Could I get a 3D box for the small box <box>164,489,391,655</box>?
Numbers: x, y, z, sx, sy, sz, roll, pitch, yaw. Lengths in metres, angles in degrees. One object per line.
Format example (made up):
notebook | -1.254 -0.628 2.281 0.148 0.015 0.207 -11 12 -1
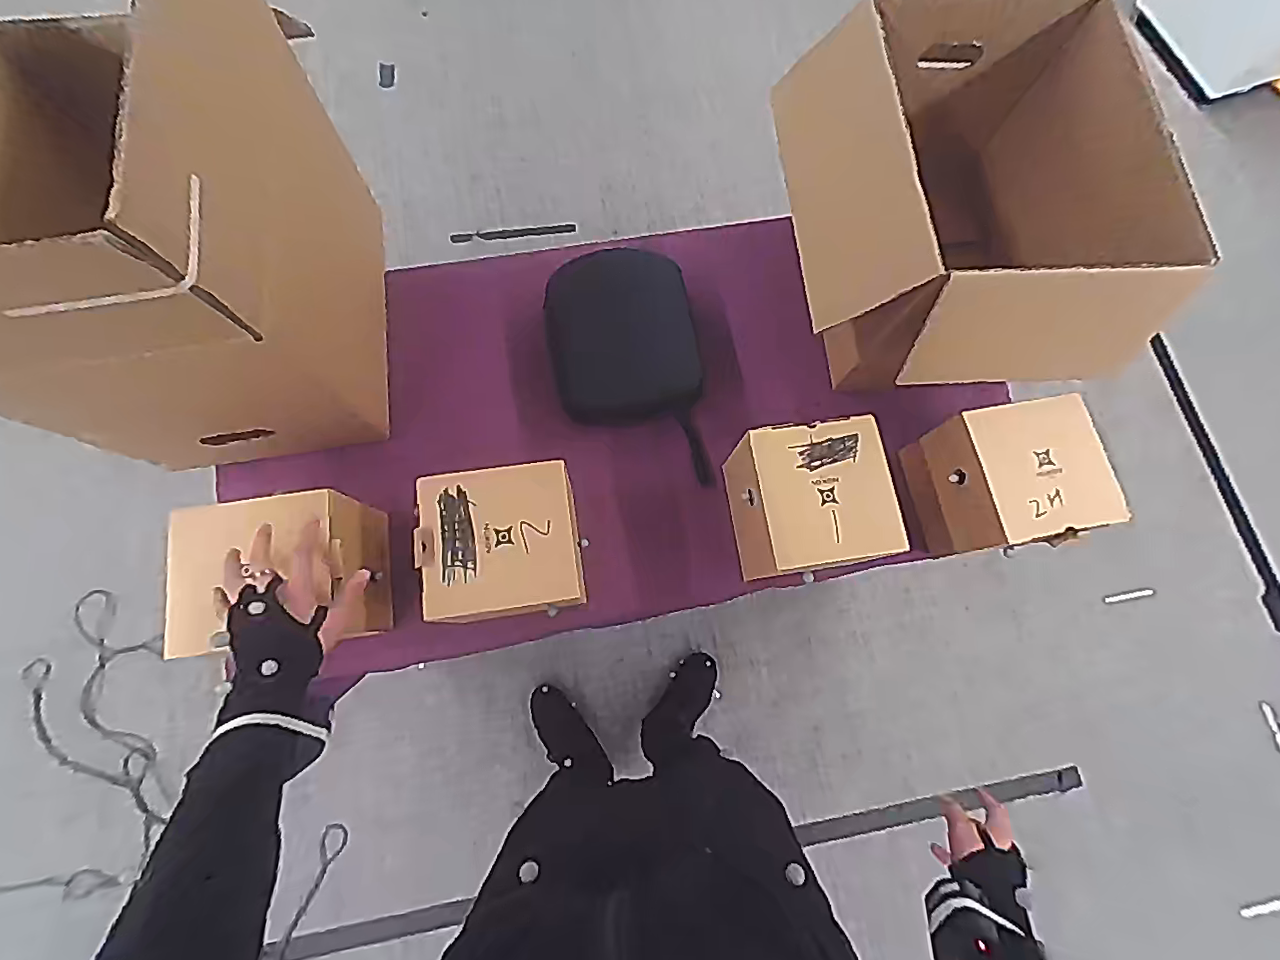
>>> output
small box | -0.435 0.120 0.675 0.179 0.176 0.168 -8 76 -6
